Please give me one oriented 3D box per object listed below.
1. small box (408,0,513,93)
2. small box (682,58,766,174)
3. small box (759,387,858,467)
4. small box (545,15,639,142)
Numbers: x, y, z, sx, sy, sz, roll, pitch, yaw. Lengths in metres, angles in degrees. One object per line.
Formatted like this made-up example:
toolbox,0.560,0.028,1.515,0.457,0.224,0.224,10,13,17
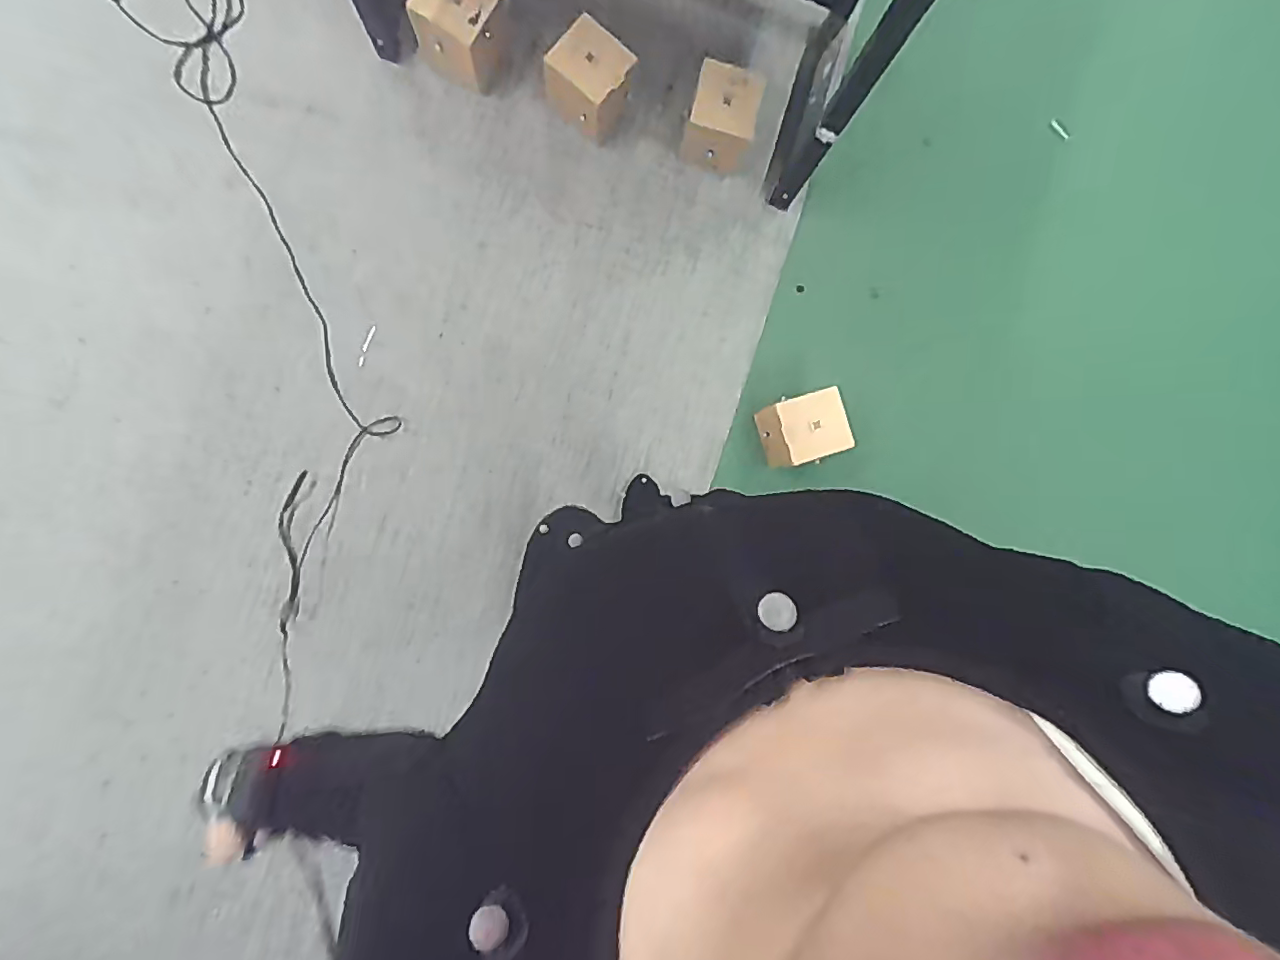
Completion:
small box,-0.449,-1.148,1.381,0.179,0.176,0.168,30,87,-3
small box,0.216,-0.956,1.438,0.168,0.176,0.179,13,88,-6
small box,0.443,-0.137,1.445,0.179,0.176,0.168,-18,91,-5
small box,-0.124,-1.029,1.408,0.179,0.176,0.168,38,85,-2
